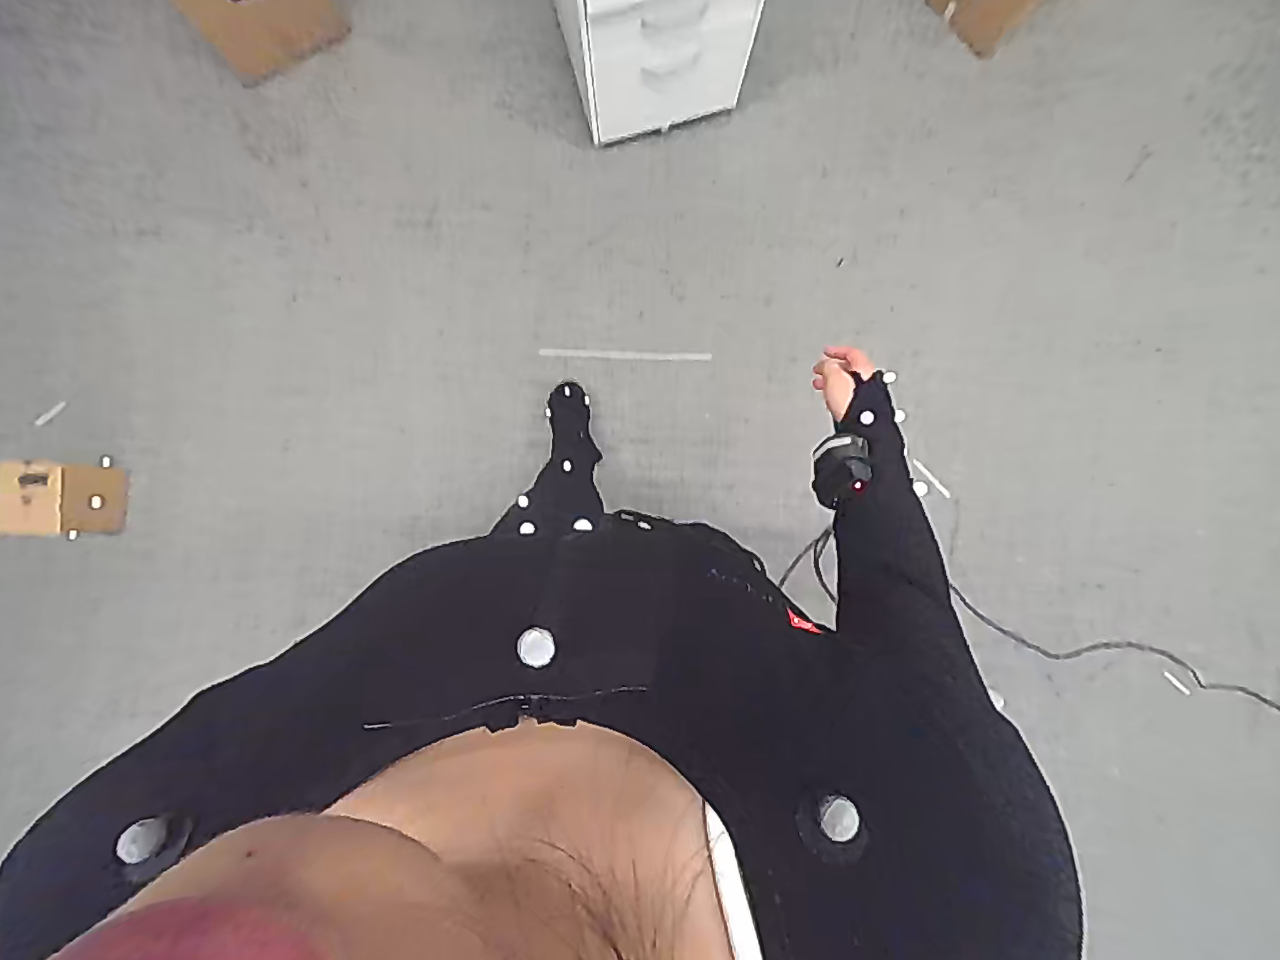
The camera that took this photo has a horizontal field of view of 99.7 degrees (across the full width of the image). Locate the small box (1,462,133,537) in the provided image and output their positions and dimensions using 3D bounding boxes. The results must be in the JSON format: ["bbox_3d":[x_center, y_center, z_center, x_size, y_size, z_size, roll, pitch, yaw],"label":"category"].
[{"bbox_3d":[-1.465,0.048,1.394,0.168,0.176,0.179,3,90,-1],"label":"small box"}]
